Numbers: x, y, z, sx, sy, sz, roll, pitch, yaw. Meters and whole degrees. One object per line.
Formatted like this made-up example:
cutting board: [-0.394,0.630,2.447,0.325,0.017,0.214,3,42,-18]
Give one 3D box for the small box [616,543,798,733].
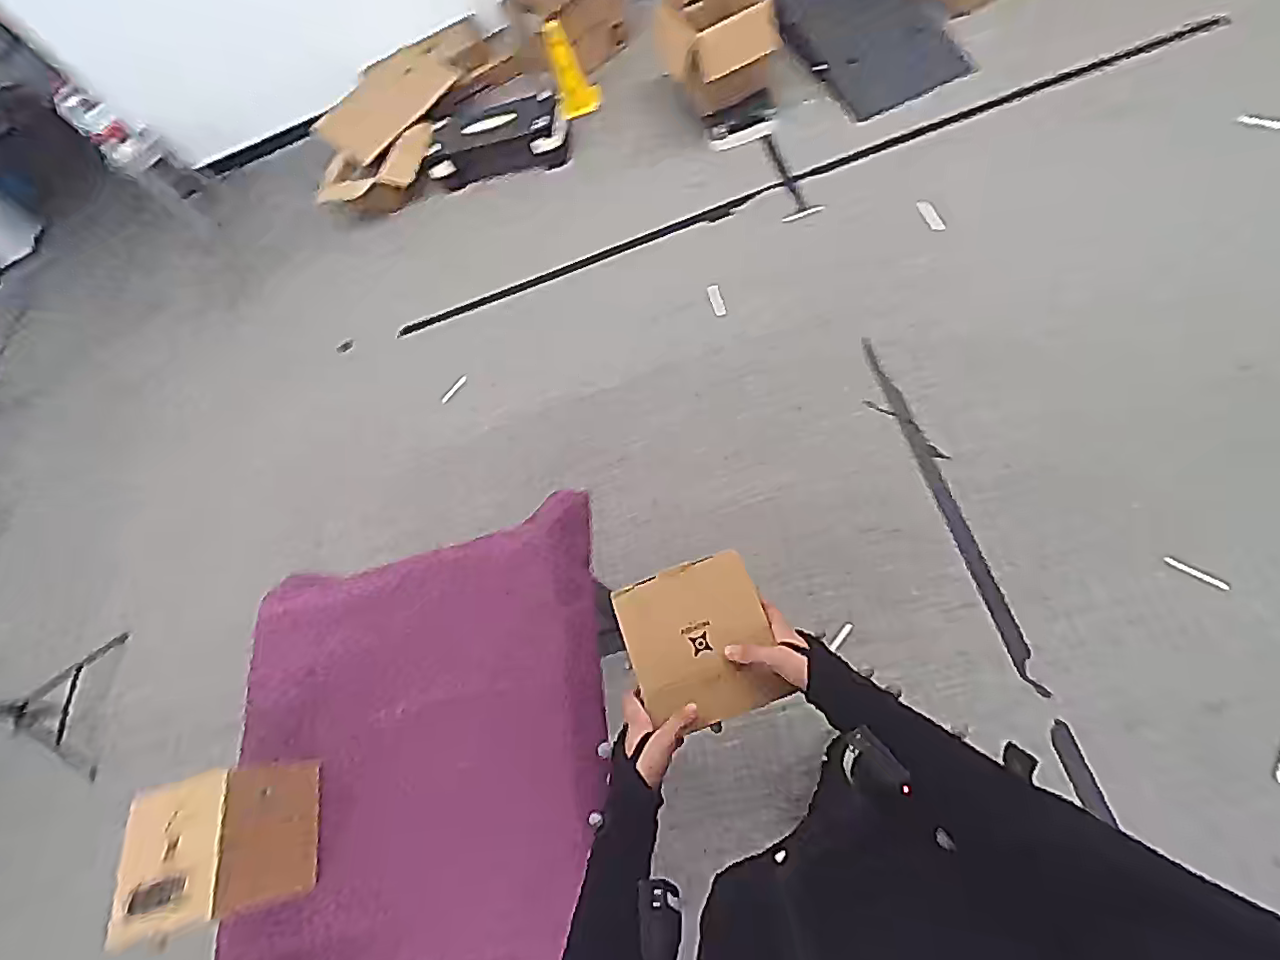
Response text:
small box: [0.080,0.204,0.692,0.168,0.176,0.179,-19,69,0]
